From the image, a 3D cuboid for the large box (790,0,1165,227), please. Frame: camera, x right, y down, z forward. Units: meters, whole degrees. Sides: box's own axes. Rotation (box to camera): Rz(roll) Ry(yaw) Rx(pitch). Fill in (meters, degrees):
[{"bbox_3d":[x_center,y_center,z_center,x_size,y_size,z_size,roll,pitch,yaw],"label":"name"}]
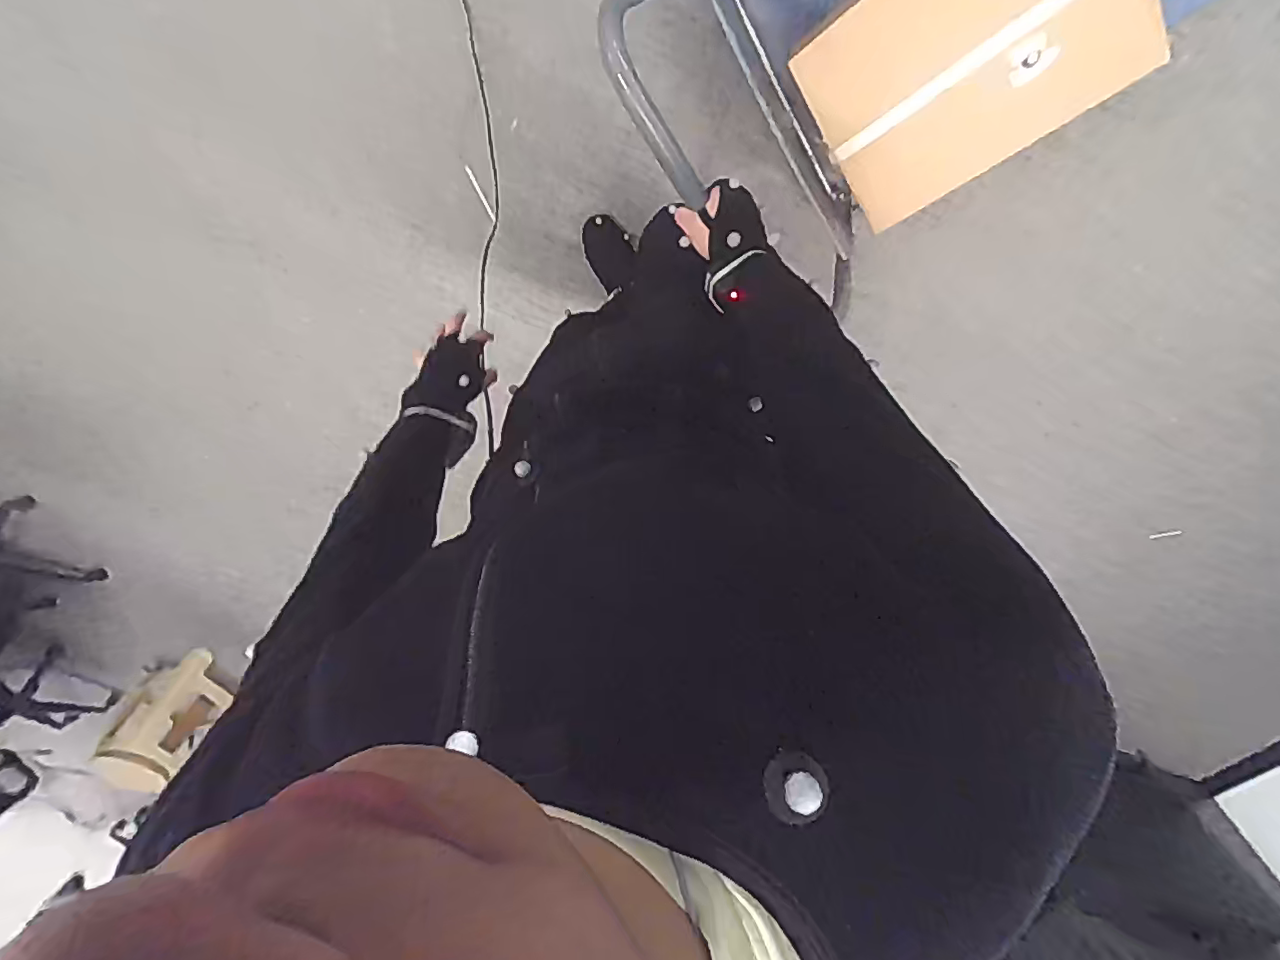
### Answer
[{"bbox_3d":[0.501,-0.705,0.881,0.408,0.320,0.320,-24,121,33],"label":"large box"}]
